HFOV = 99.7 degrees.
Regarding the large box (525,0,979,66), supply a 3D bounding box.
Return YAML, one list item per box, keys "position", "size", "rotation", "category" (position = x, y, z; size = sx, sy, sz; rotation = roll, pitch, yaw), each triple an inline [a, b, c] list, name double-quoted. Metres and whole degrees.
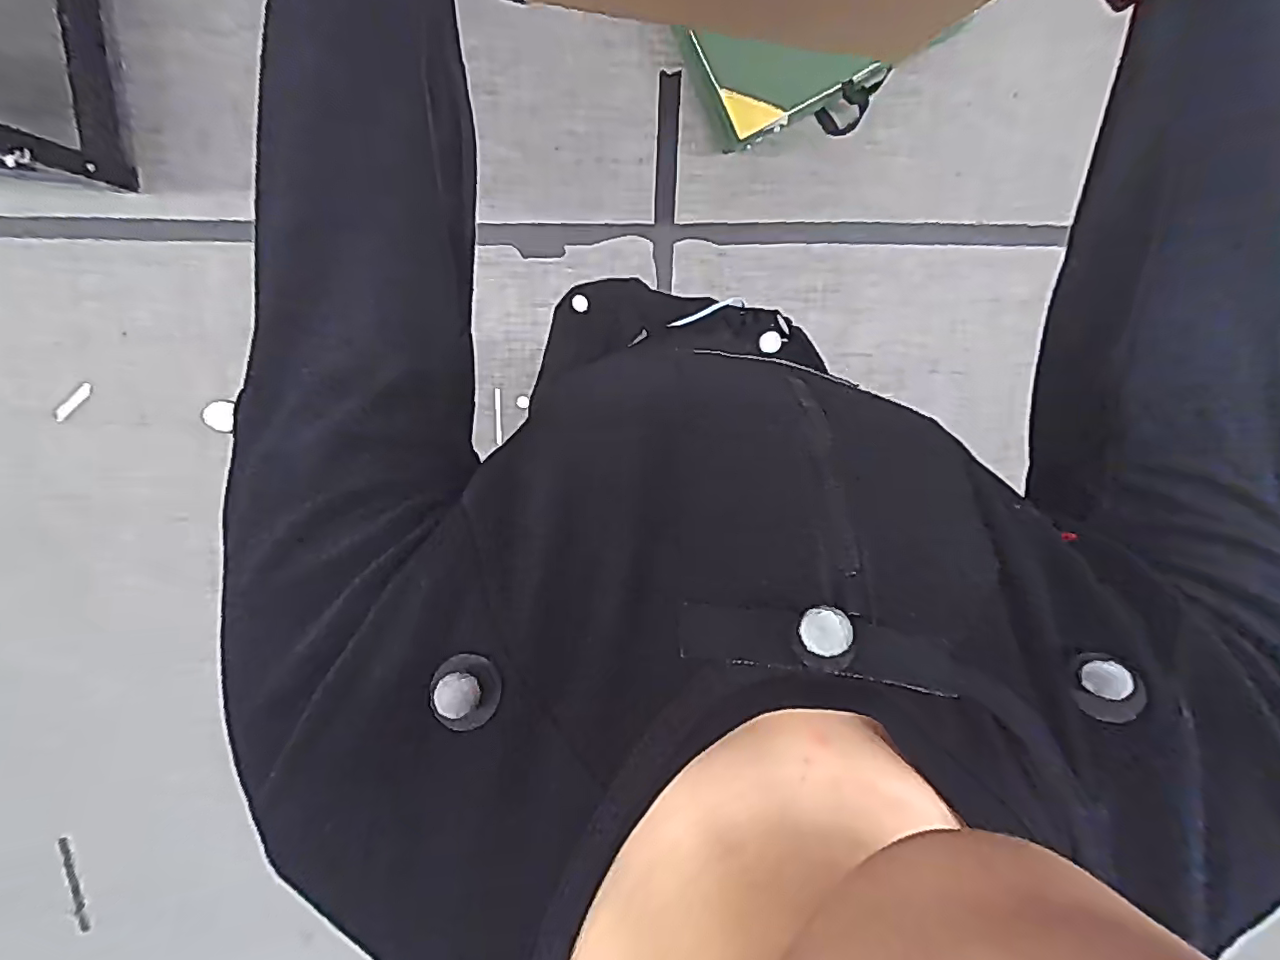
- position: [0.102, -0.553, 0.385]
  size: [0.408, 0.320, 0.320]
  rotation: [5, 112, -5]
  category: "large box"
